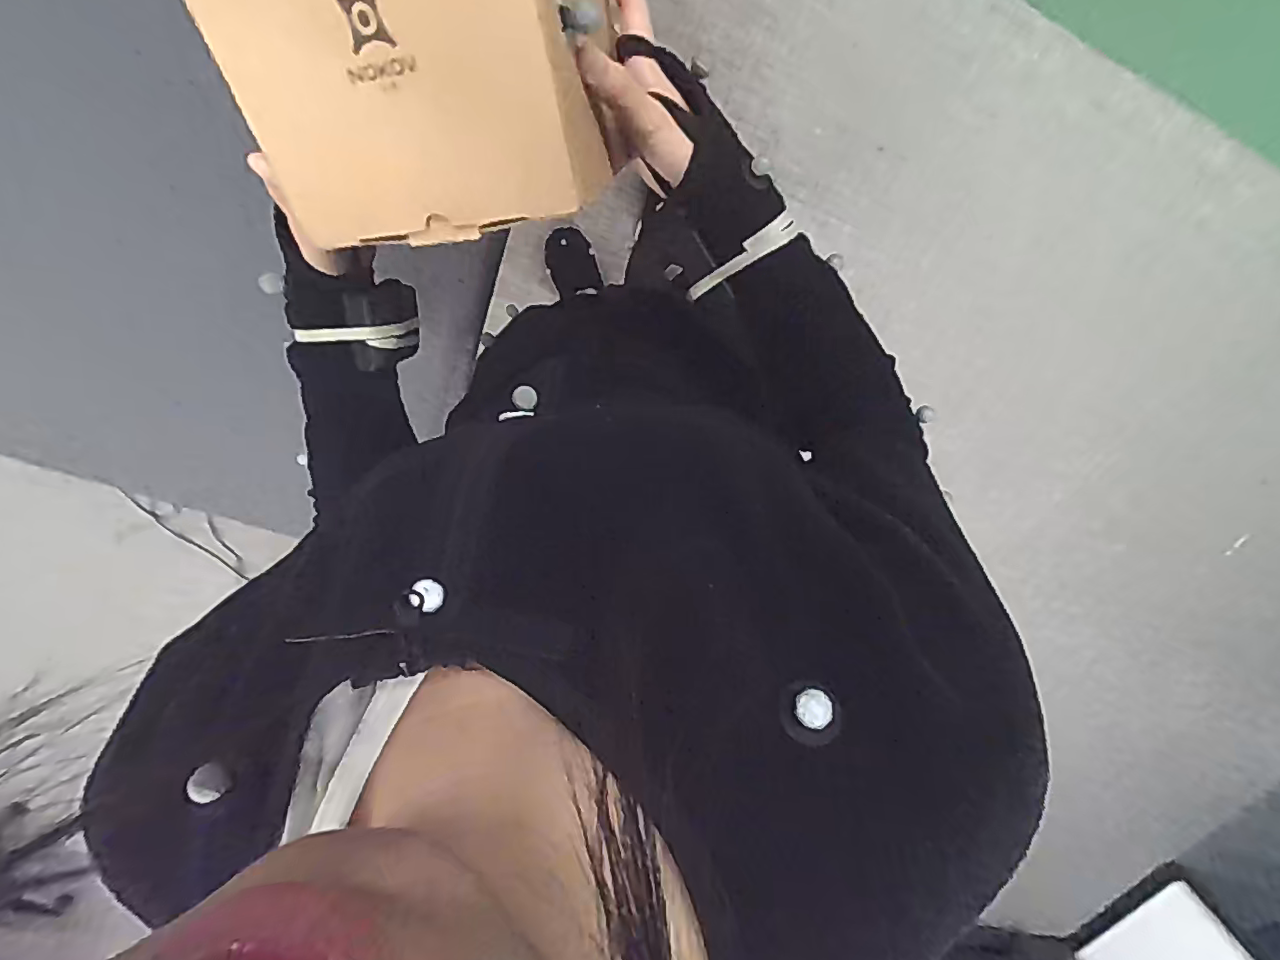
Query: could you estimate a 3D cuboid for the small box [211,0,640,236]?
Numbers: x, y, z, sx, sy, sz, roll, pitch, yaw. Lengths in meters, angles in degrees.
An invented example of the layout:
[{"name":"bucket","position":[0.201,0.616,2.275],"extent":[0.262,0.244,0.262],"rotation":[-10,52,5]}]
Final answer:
[{"name":"small box","position":[-0.098,-0.255,0.295],"extent":[0.168,0.176,0.179],"rotation":[-1,131,10]}]
